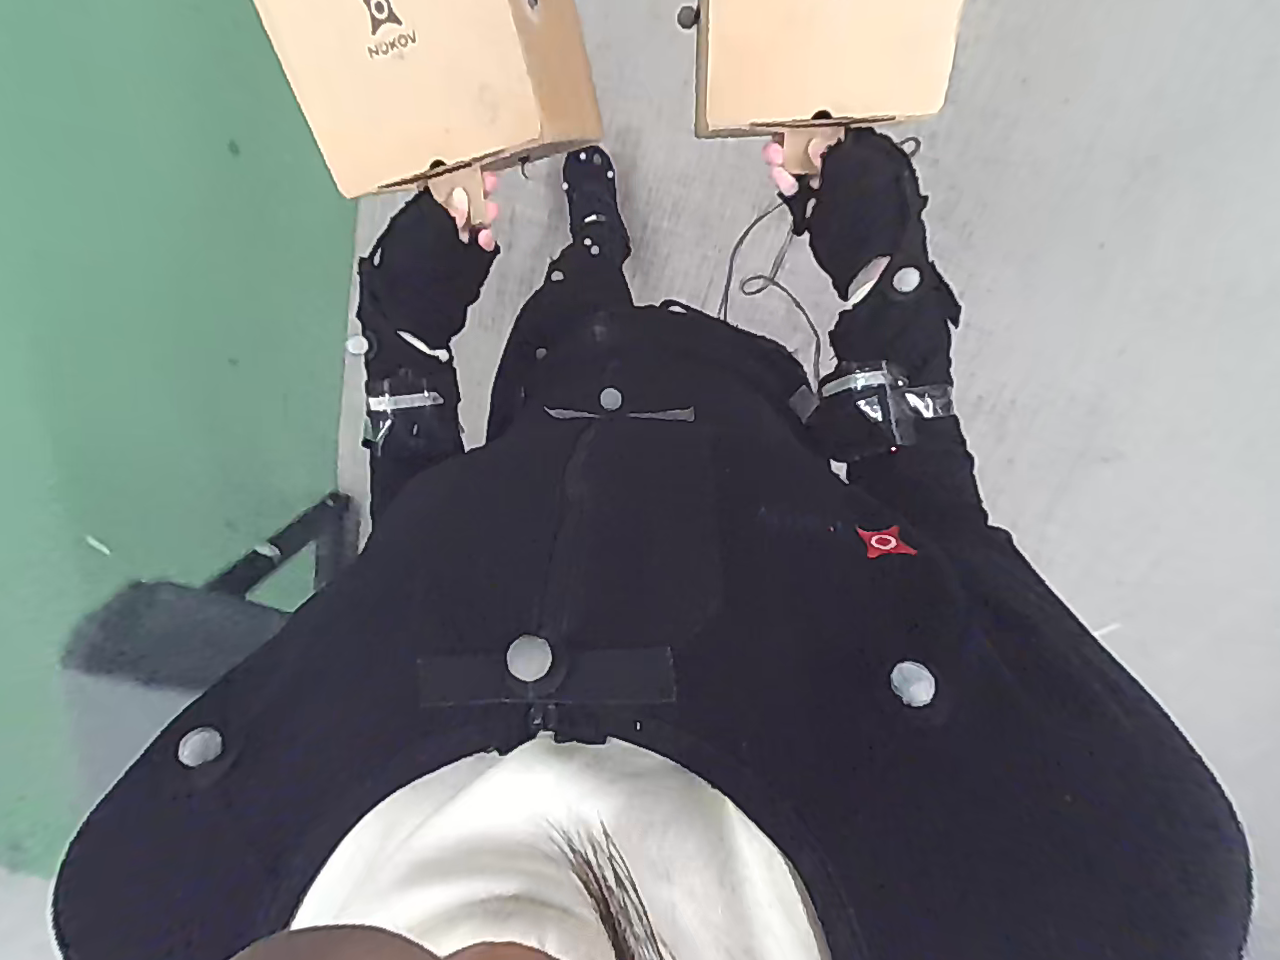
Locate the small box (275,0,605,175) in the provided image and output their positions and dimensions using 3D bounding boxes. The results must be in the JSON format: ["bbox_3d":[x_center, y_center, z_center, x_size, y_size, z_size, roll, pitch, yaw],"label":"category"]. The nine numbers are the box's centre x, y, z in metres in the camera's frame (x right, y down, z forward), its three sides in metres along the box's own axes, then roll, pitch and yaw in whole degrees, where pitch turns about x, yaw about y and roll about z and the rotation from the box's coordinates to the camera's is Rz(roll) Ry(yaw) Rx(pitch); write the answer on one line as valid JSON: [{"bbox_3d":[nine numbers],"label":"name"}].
[{"bbox_3d":[-0.136,-0.344,0.397,0.168,0.176,0.179,-6,120,16],"label":"small box"}]
